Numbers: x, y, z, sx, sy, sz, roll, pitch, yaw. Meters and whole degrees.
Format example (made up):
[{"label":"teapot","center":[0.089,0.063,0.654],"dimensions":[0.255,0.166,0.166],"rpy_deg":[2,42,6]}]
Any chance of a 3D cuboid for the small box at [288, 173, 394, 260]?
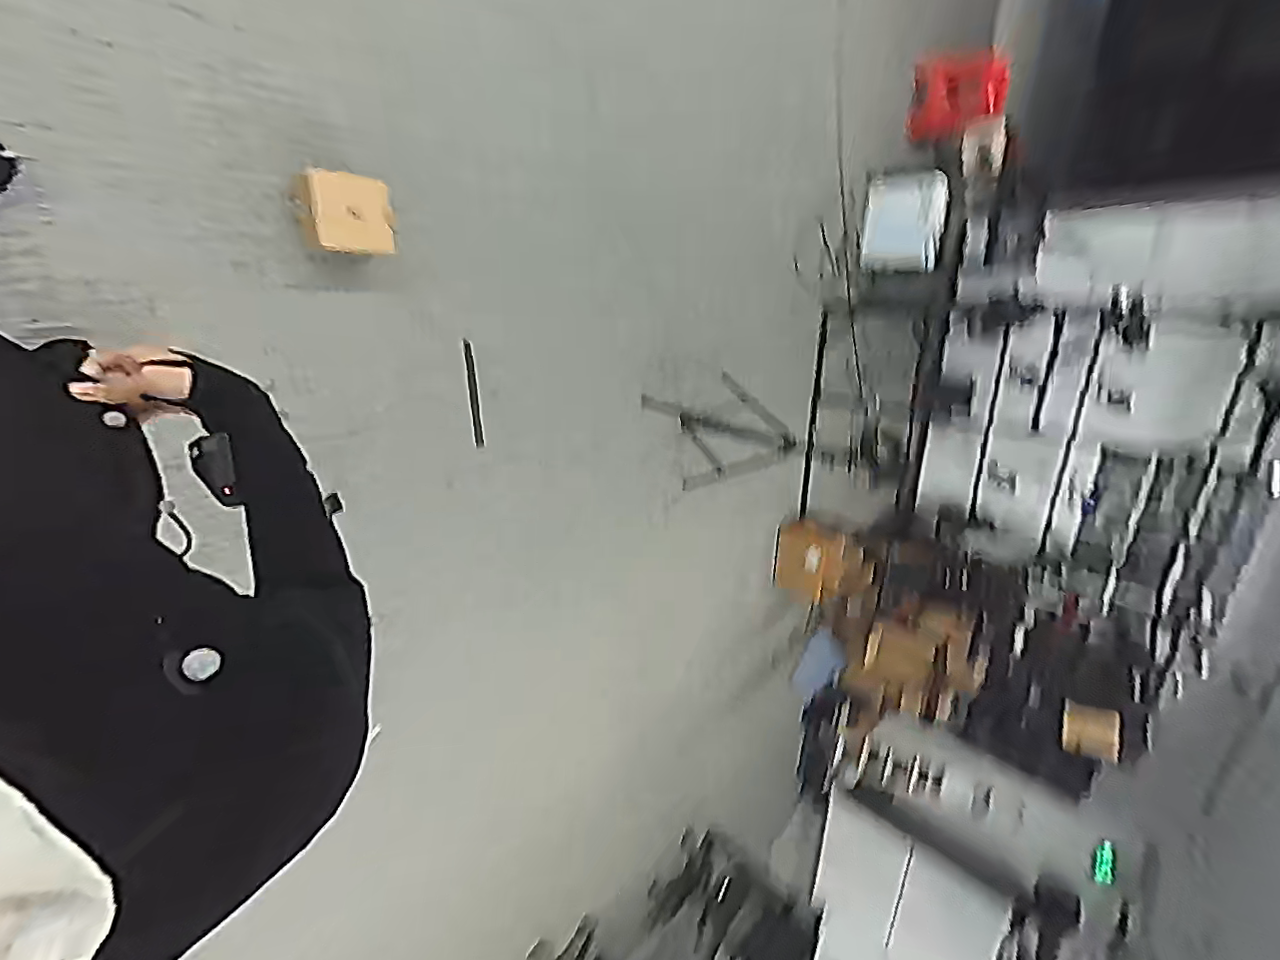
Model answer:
[{"label":"small box","center":[-0.741,-0.644,1.344],"dimensions":[0.179,0.176,0.168],"rpy_deg":[-16,114,-44]}]
